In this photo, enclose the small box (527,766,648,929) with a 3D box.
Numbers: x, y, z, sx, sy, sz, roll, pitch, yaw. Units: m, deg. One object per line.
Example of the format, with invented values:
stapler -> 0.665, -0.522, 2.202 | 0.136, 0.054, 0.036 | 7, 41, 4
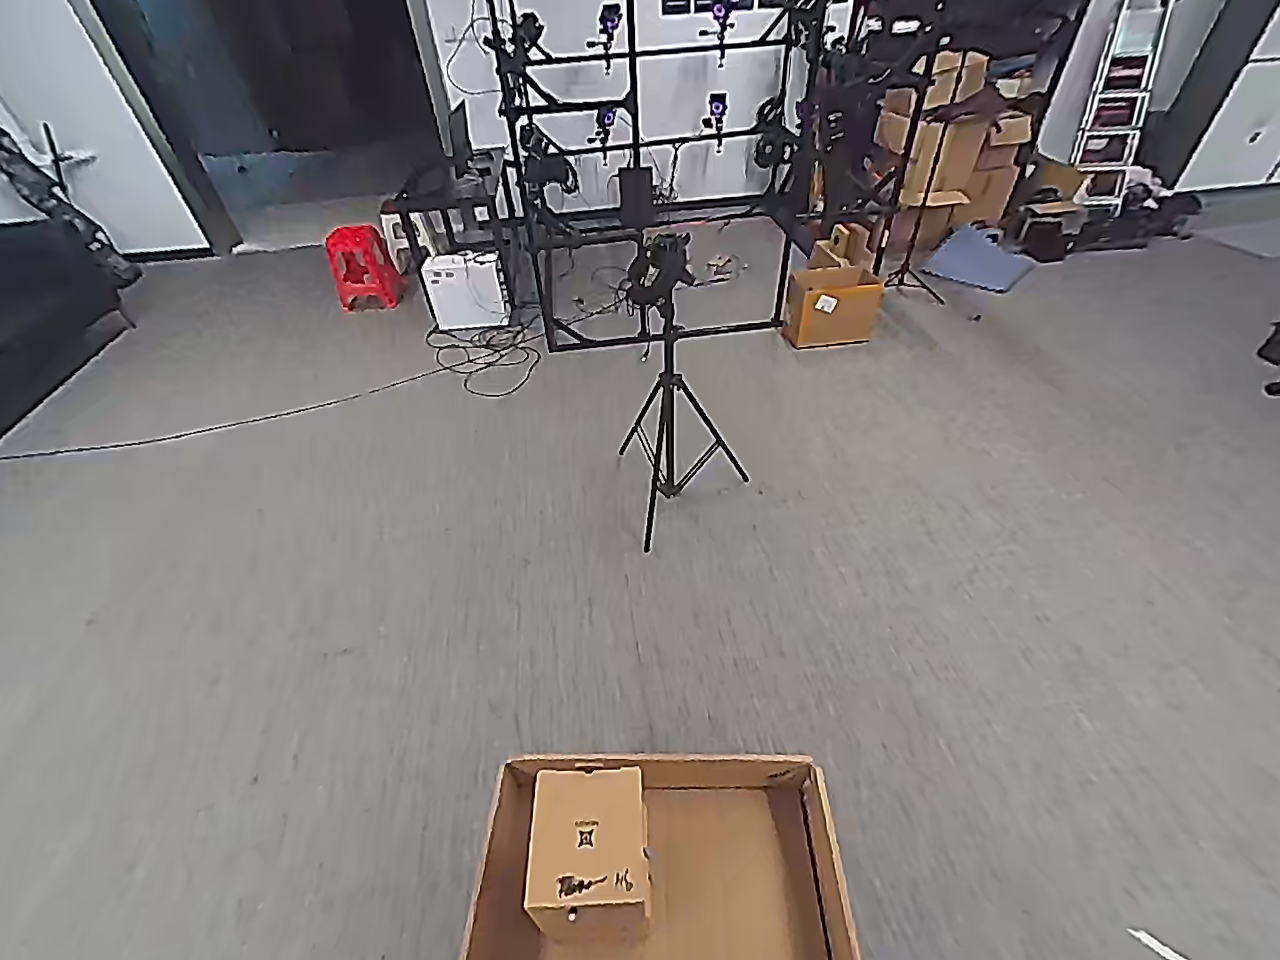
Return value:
small box -> -0.072, 0.571, 0.843 | 0.168, 0.176, 0.179 | -2, 42, 0
